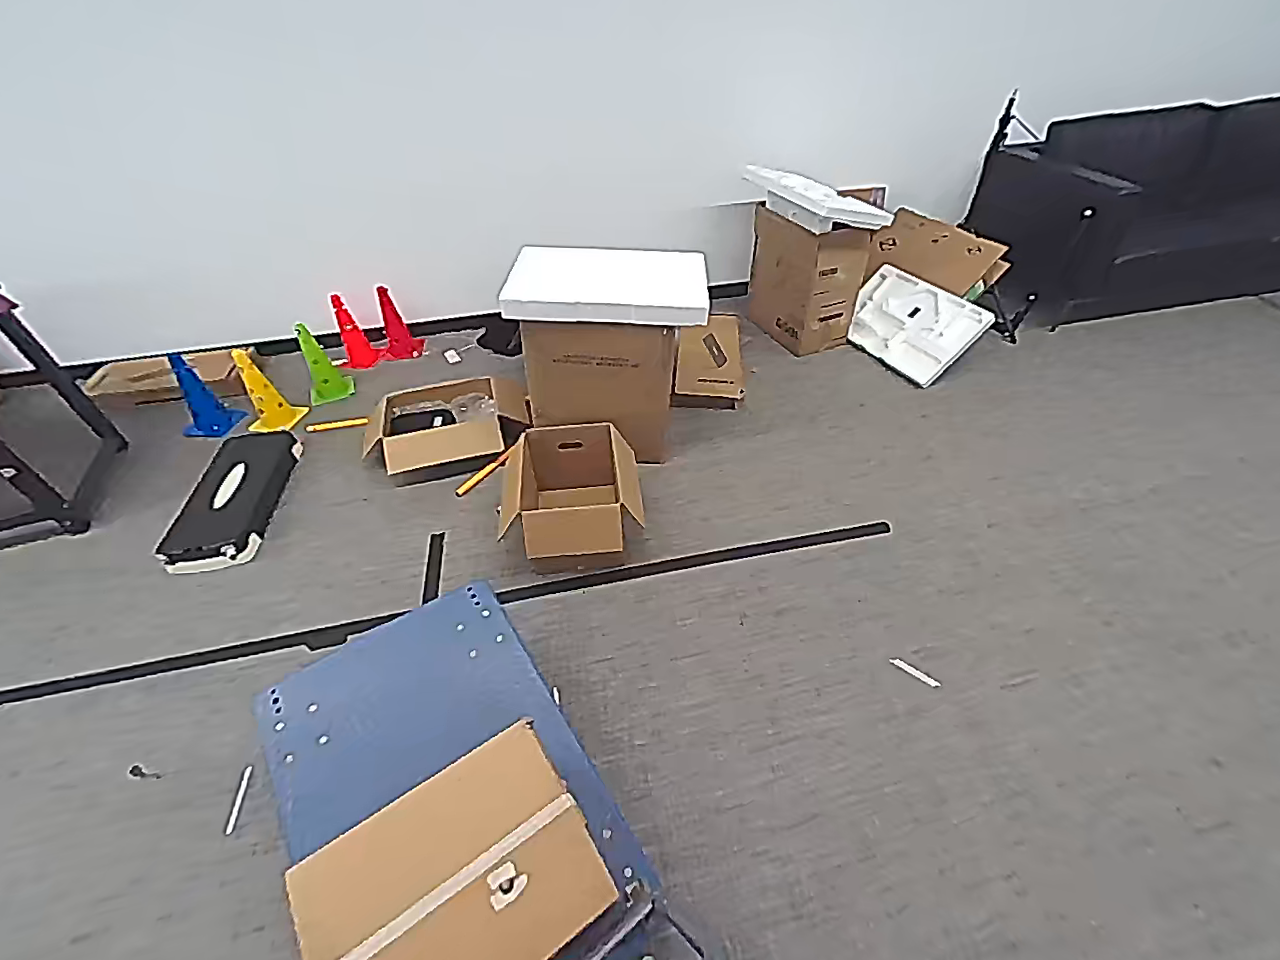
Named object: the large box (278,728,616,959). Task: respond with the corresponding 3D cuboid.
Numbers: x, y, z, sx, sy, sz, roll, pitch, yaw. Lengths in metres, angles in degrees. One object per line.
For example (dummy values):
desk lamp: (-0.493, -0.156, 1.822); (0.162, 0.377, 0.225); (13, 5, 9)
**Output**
large box: (-0.291, 0.711, 0.906); (0.408, 0.320, 0.320); (-27, 59, -25)
